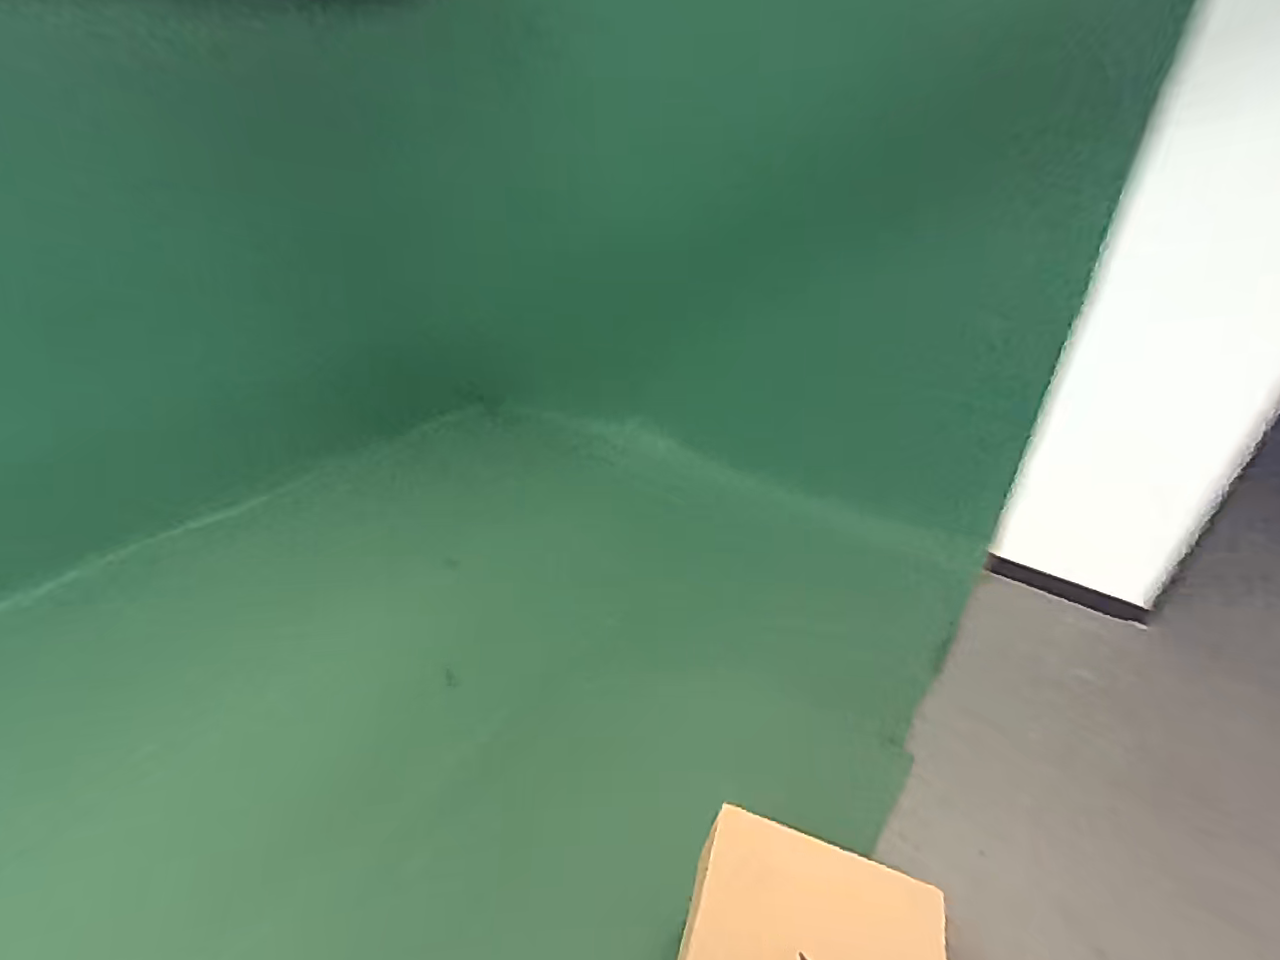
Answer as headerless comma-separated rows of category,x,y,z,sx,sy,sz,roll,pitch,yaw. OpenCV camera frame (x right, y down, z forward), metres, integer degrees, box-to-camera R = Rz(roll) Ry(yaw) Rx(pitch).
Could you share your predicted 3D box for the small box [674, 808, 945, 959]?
small box,0.109,0.391,0.407,0.168,0.176,0.179,15,47,13
